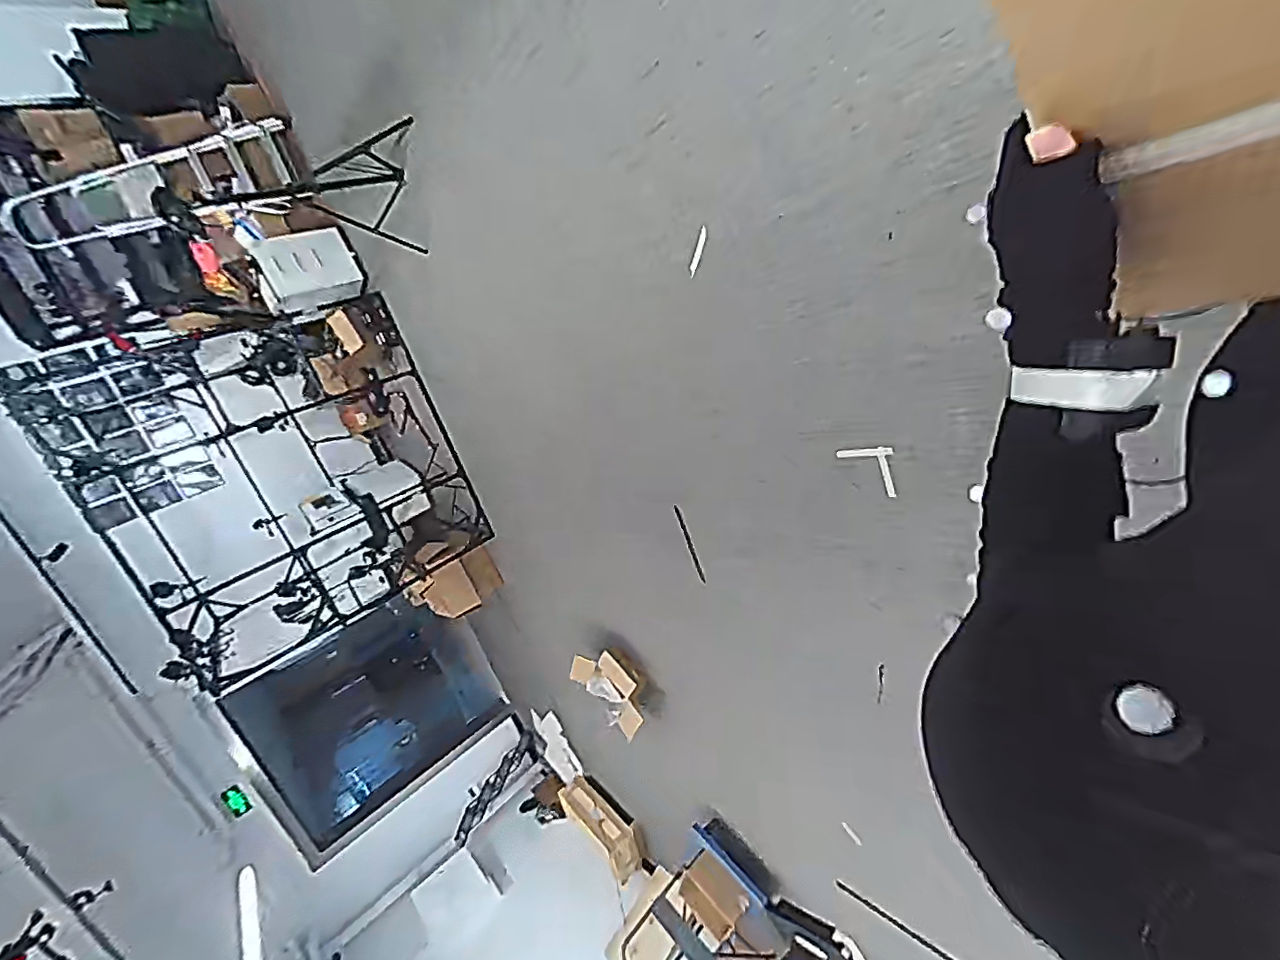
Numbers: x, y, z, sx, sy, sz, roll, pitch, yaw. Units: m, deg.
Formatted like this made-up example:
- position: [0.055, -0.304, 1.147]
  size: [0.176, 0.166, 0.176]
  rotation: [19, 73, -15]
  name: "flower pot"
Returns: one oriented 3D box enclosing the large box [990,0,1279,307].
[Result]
- position: [0.417, -0.312, 0.197]
  size: [0.320, 0.320, 0.408]
  rotation: [26, 168, -38]
  name: "large box"
